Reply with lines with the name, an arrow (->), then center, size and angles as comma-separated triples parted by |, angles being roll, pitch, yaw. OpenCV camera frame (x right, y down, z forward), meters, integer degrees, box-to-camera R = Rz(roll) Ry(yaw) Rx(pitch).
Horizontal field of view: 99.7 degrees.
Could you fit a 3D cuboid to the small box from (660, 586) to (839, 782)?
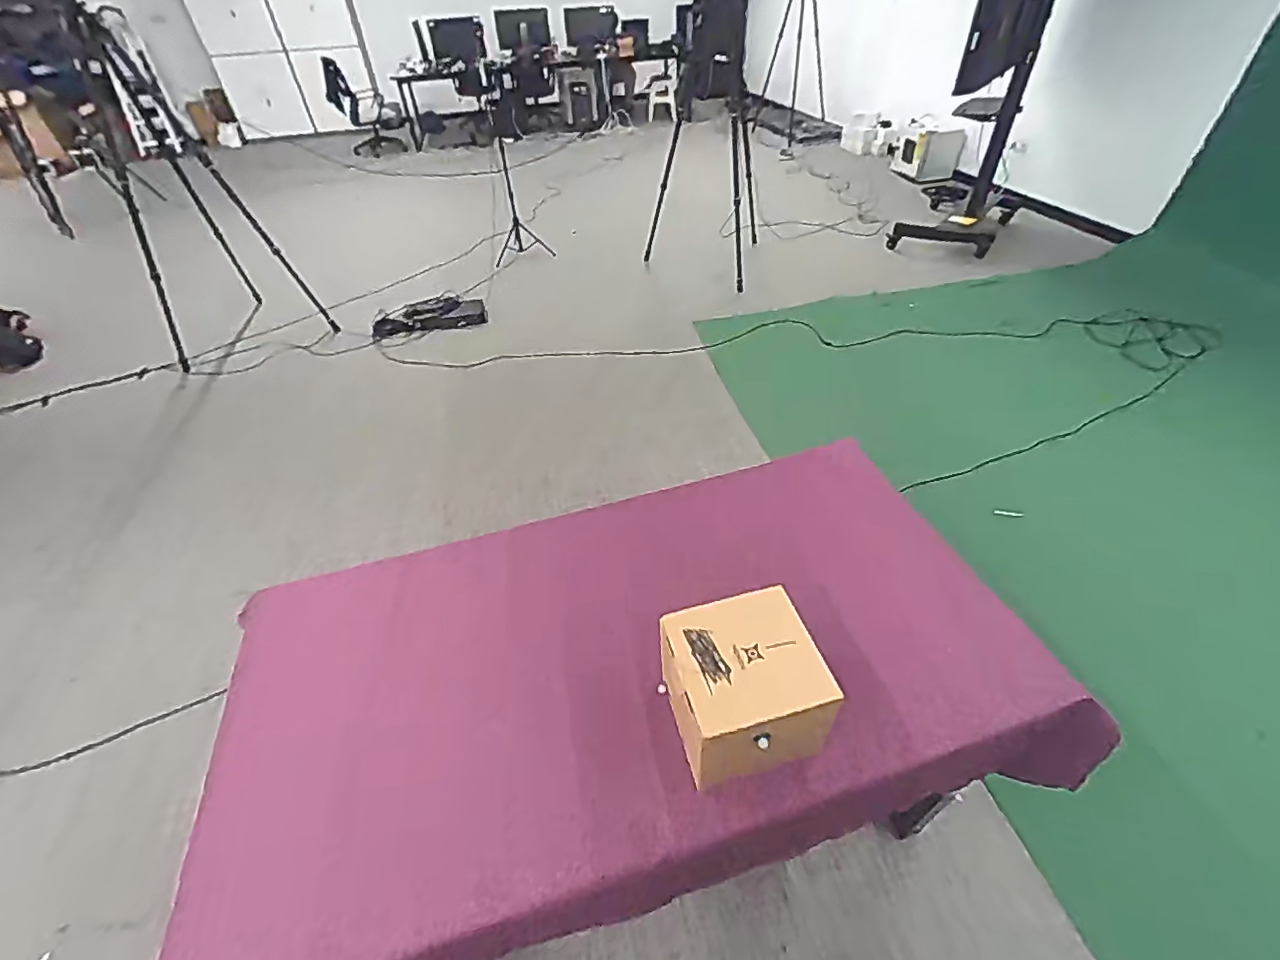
small box -> 0.134, 0.273, 0.721 | 0.179, 0.176, 0.168 | -12, 44, -9
